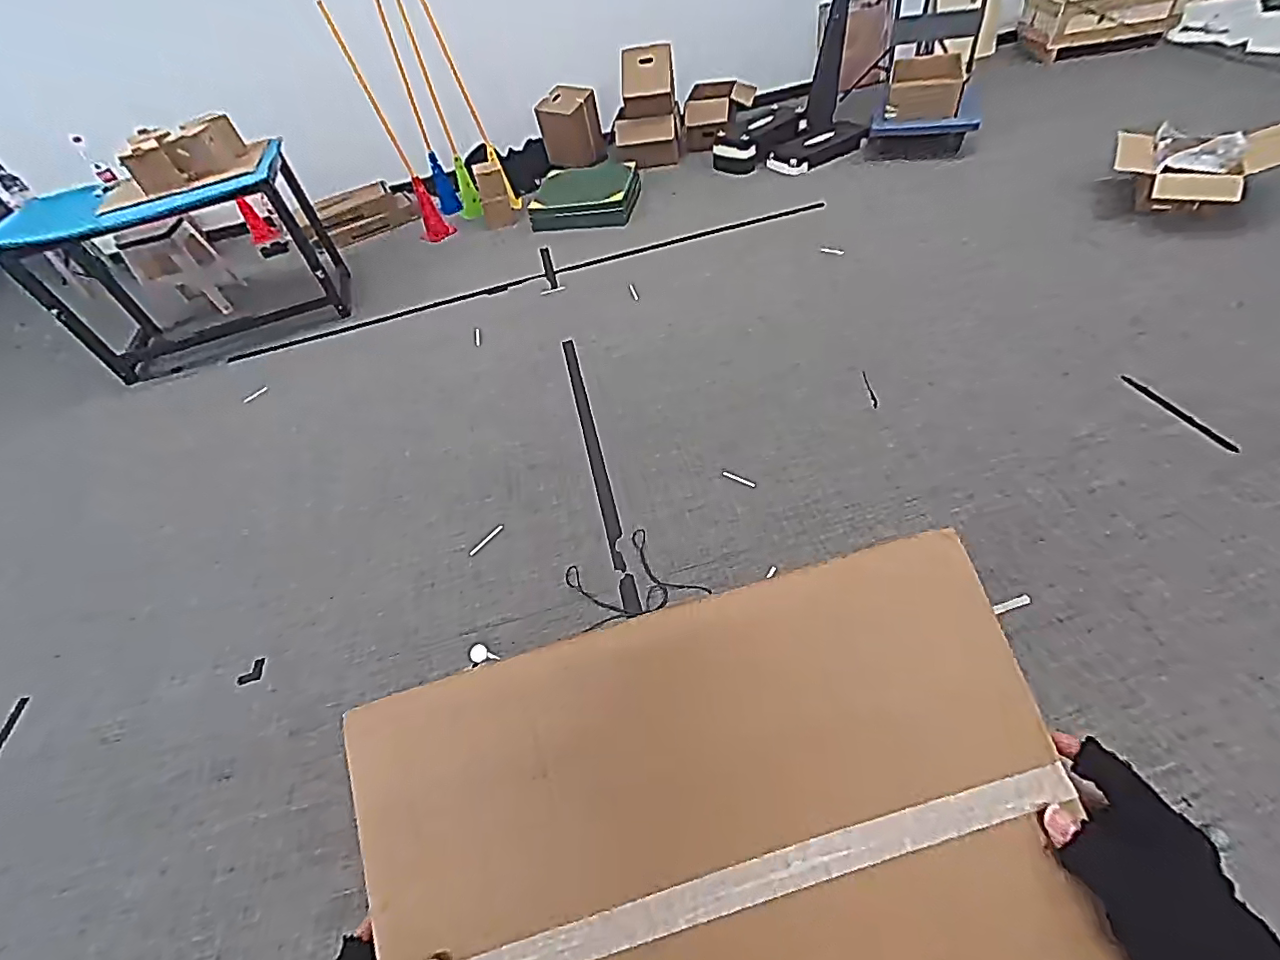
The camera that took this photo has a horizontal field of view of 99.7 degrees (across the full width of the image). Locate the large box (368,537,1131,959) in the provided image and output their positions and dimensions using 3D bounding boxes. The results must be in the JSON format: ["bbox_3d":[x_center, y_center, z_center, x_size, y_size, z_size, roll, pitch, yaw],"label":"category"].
[{"bbox_3d":[0.061,0.274,0.461,0.408,0.320,0.320,-17,77,-2],"label":"large box"}]
